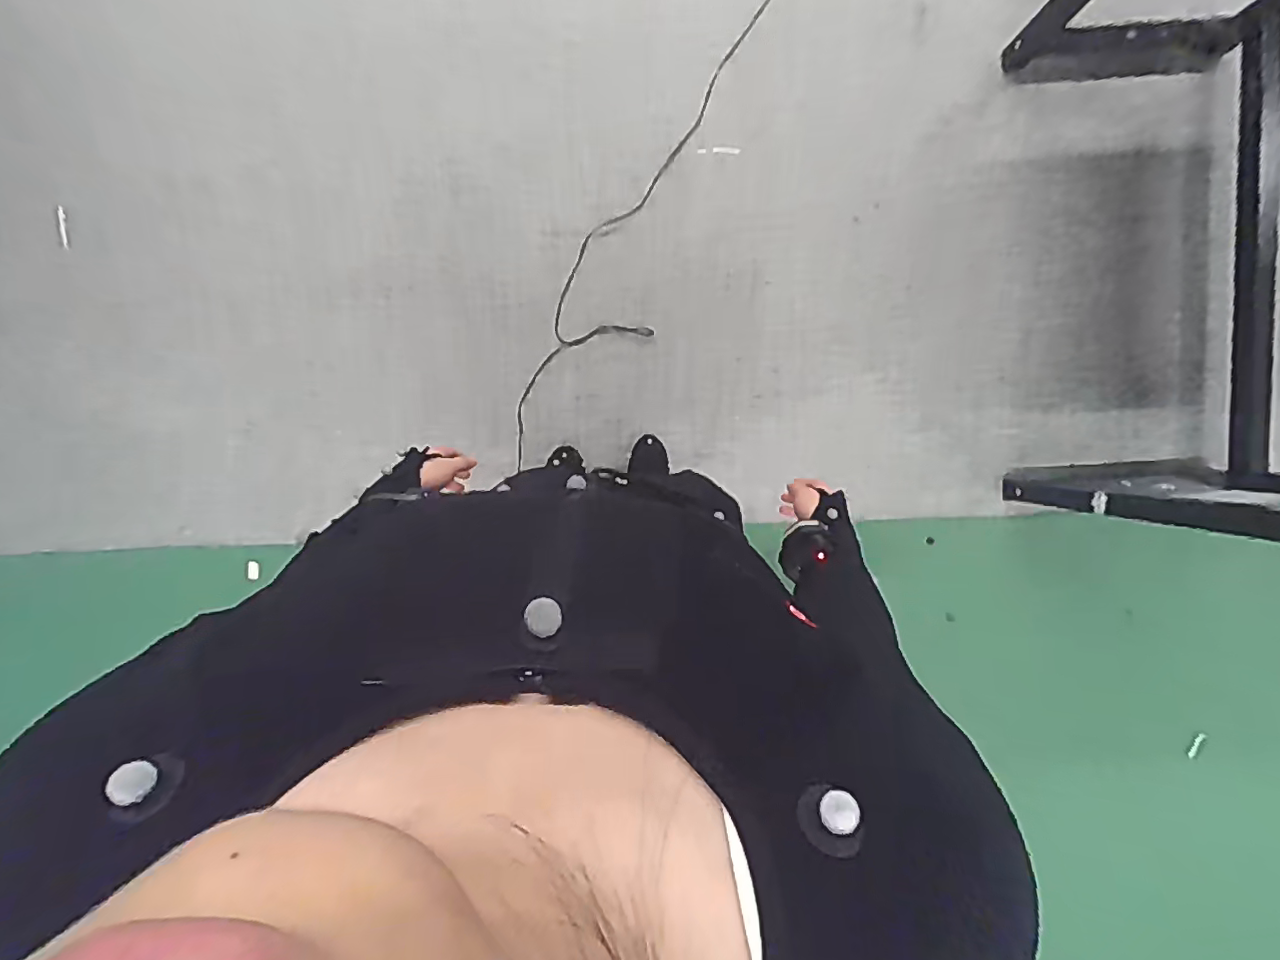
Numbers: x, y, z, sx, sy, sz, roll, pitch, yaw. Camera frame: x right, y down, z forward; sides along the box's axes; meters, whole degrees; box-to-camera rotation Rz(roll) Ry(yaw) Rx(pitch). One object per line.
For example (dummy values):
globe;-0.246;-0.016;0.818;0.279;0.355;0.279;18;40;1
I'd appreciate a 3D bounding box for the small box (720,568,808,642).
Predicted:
small box;0.331;0.349;1.419;0.179;0.176;0.168;43;93;-3
